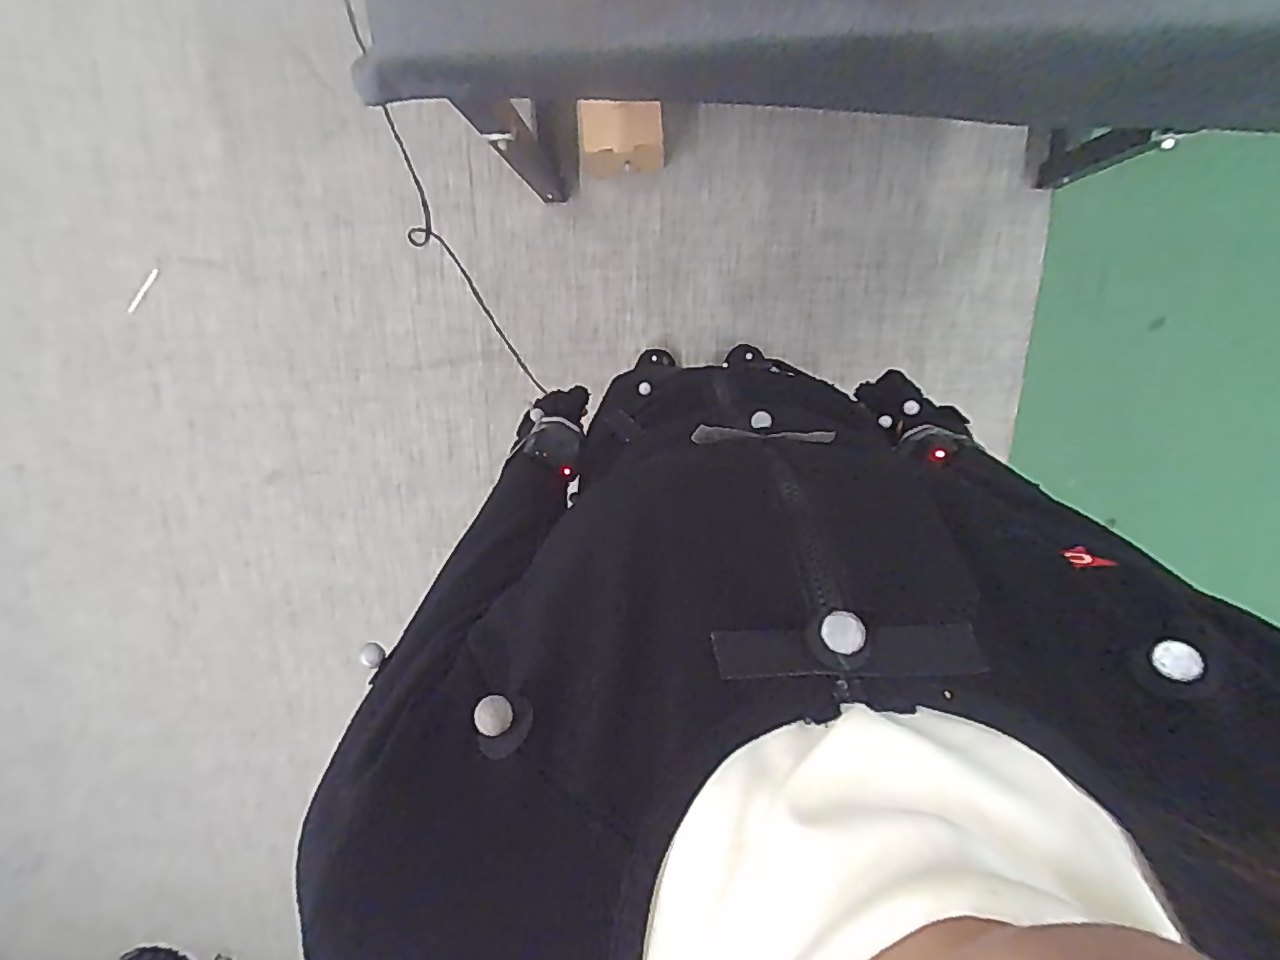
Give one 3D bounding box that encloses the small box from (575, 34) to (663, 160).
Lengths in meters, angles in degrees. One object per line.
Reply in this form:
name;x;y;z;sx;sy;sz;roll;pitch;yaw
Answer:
small box;-0.037;-0.806;1.160;0.168;0.176;0.179;-4;106;4
